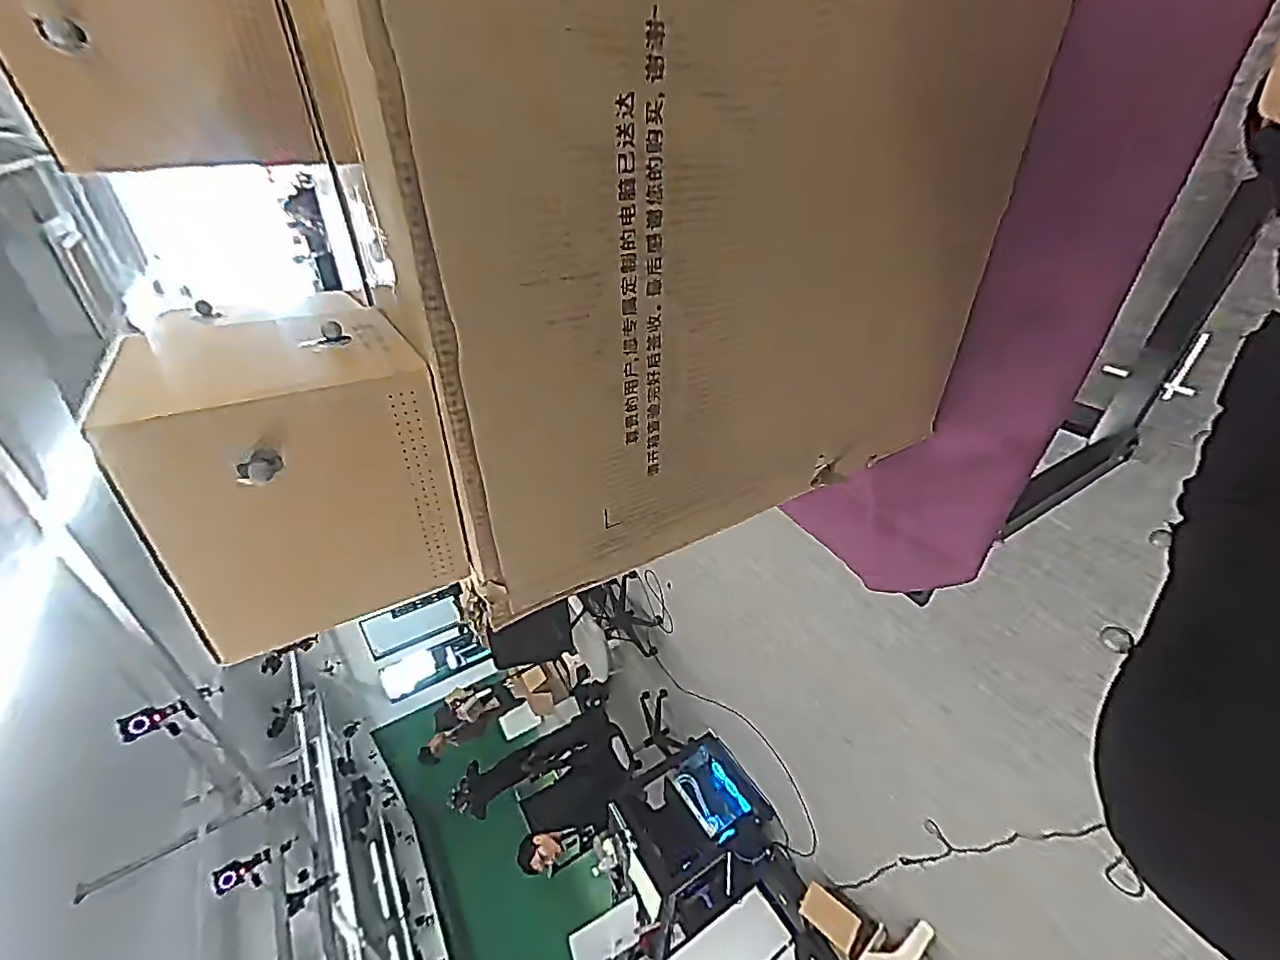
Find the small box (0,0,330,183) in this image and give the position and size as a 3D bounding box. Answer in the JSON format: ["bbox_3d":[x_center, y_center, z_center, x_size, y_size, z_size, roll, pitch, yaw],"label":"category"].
[{"bbox_3d":[-0.363,-0.343,0.407,0.168,0.176,0.179,46,146,40],"label":"small box"}]
